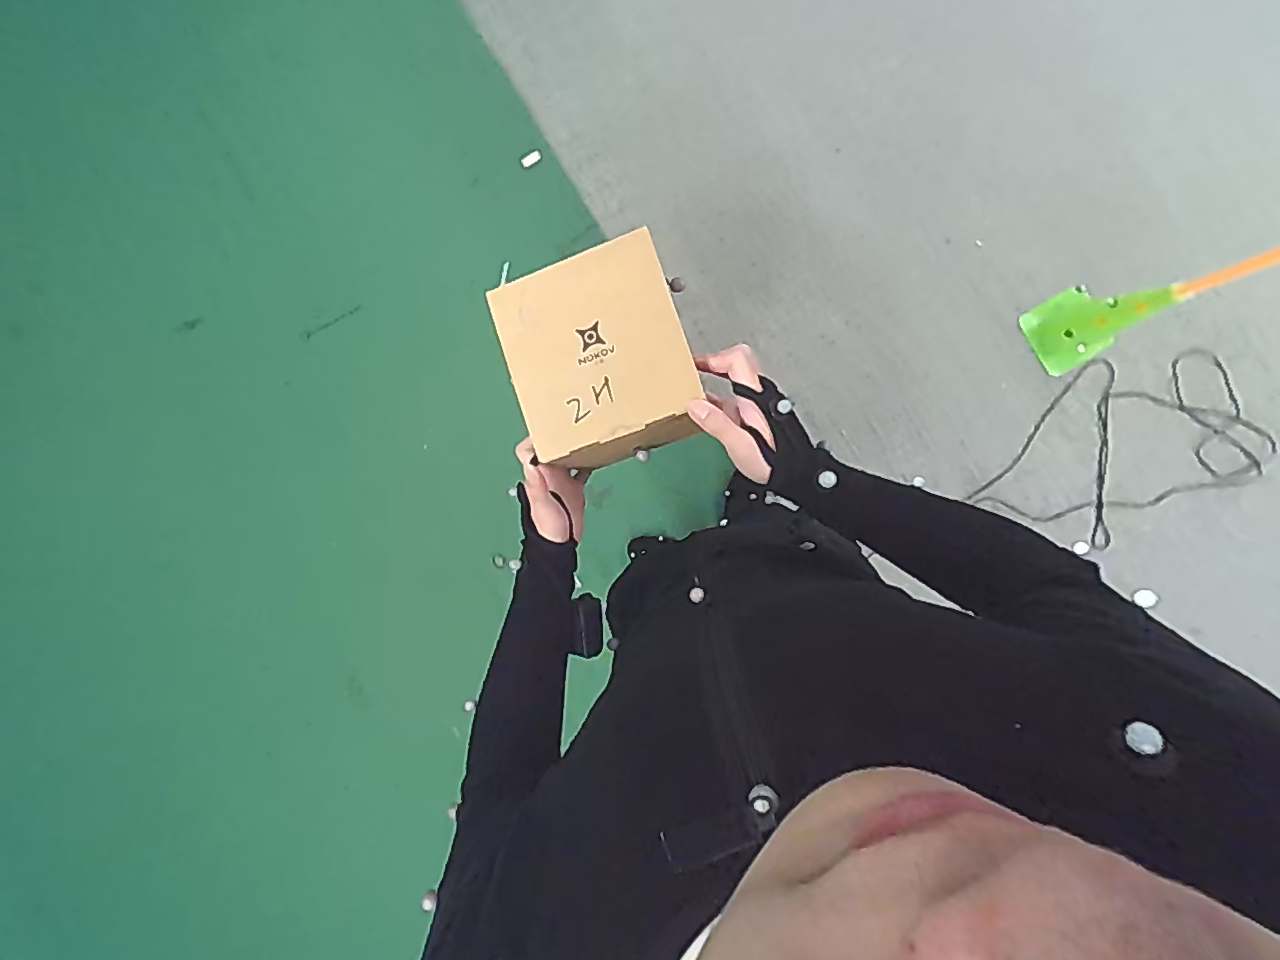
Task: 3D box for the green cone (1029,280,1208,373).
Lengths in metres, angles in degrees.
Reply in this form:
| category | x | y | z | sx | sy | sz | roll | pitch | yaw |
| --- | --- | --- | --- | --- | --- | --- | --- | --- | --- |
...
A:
| category | x | y | z | sx | sy | sz | roll | pitch | yaw |
| --- | --- | --- | --- | --- | --- | --- | --- | --- | --- |
| green cone | 1.197 | -0.417 | 1.327 | 0.200 | 0.368 | 0.202 | -32 | 91 | 5 |
